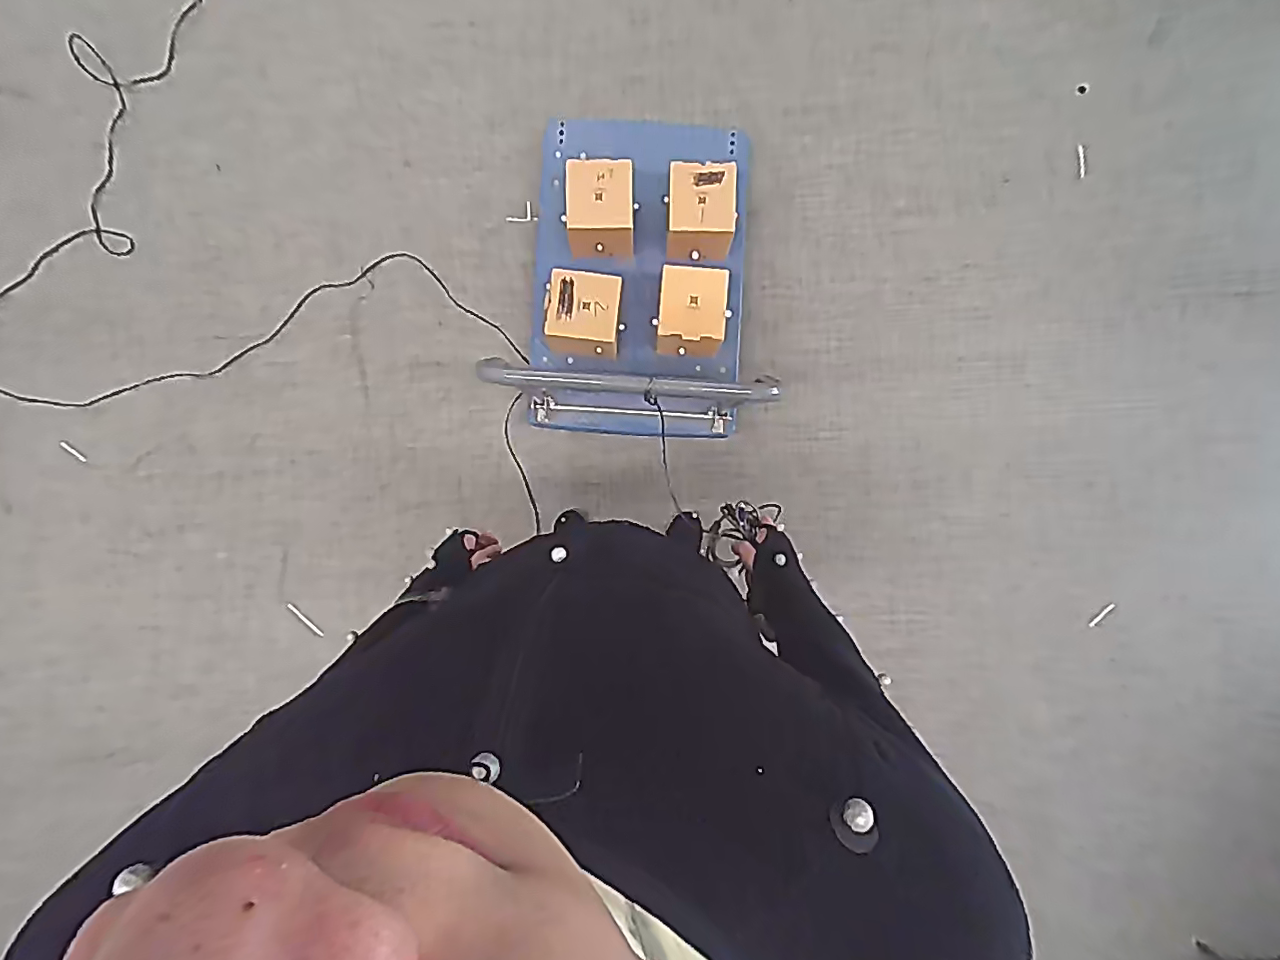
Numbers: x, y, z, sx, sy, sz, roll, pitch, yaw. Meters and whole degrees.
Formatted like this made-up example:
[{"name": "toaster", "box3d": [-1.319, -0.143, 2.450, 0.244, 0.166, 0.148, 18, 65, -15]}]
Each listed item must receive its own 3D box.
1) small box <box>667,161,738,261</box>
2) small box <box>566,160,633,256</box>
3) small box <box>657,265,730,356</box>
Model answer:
[{"name": "small box", "box3d": [0.157, -0.695, 1.411, 0.168, 0.176, 0.179, 1, 89, 1]}, {"name": "small box", "box3d": [-0.101, -0.701, 1.411, 0.168, 0.176, 0.179, 0, 88, -1]}, {"name": "small box", "box3d": [0.133, -0.434, 1.405, 0.168, 0.176, 0.179, 4, 89, 0]}]
